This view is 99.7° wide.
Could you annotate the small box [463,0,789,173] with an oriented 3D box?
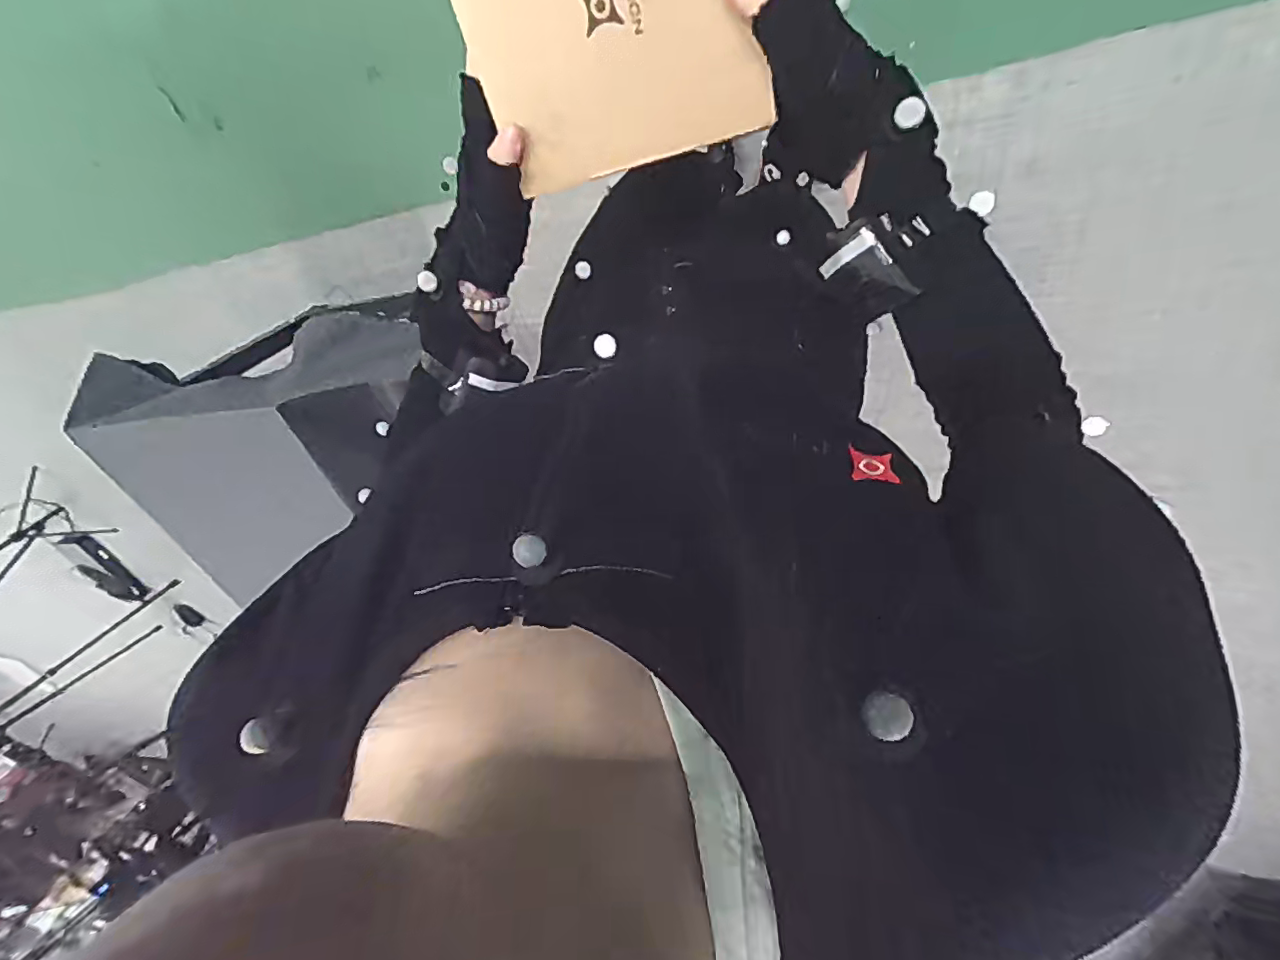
[{"bbox_3d":[-0.011,-0.325,0.357,0.179,0.176,0.168,-12,127,10],"label":"small box"}]
